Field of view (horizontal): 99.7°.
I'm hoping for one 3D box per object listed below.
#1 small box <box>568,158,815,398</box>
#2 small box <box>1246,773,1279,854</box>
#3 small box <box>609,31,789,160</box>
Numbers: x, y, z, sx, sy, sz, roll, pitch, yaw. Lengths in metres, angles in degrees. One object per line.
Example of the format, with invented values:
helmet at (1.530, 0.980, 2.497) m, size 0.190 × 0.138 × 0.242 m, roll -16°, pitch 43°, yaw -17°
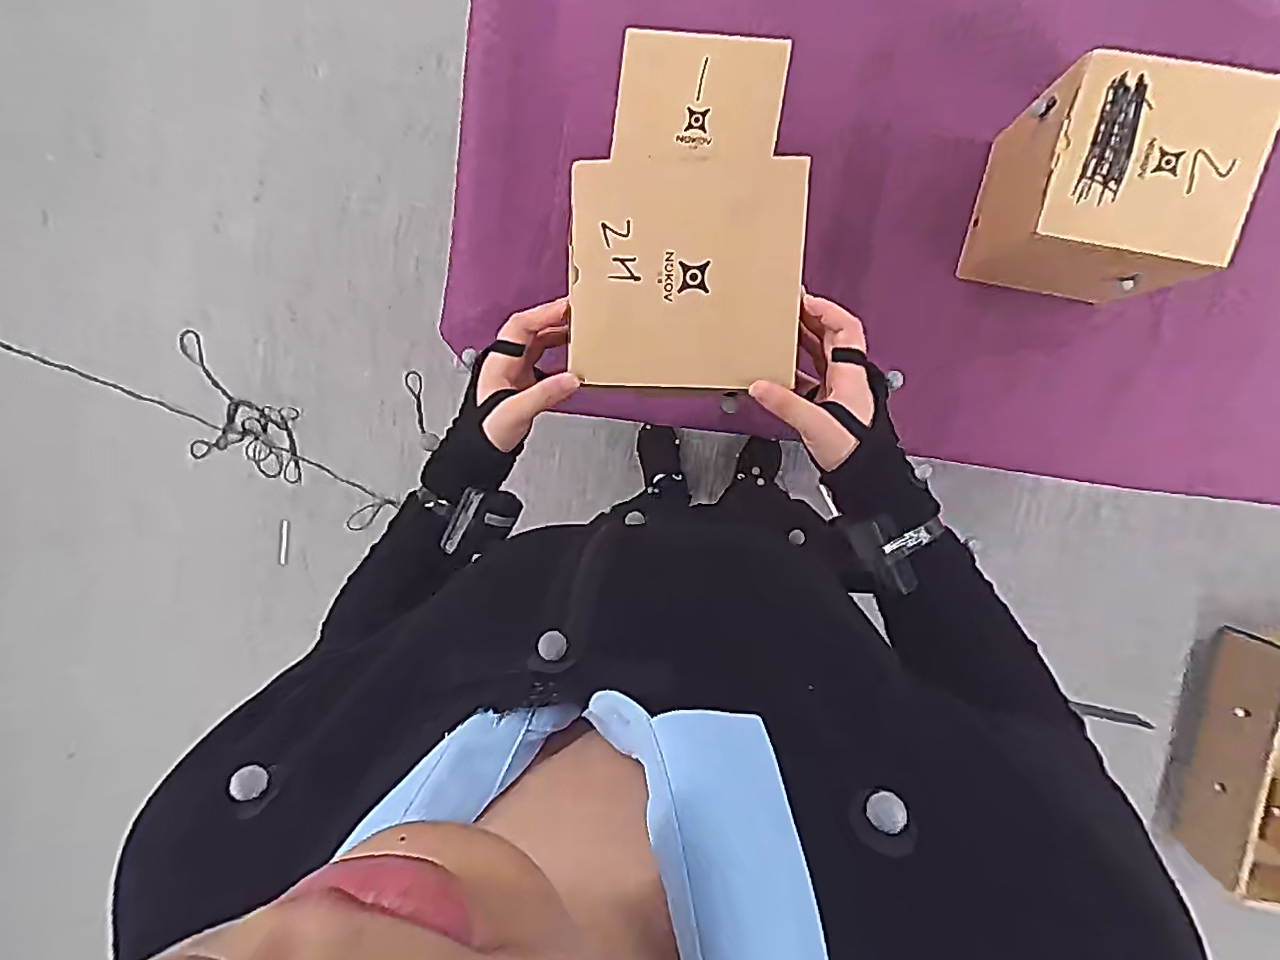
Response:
small box at (0.043, -0.161, 0.479) m, size 0.179 × 0.176 × 0.168 m, roll 3°, pitch 97°, yaw 7°
small box at (1.609, 0.819, 1.264) m, size 0.179 × 0.176 × 0.168 m, roll 5°, pitch 97°, yaw 7°
small box at (0.063, -0.360, 0.620) m, size 0.168 × 0.176 × 0.179 m, roll 9°, pitch 98°, yaw 5°
